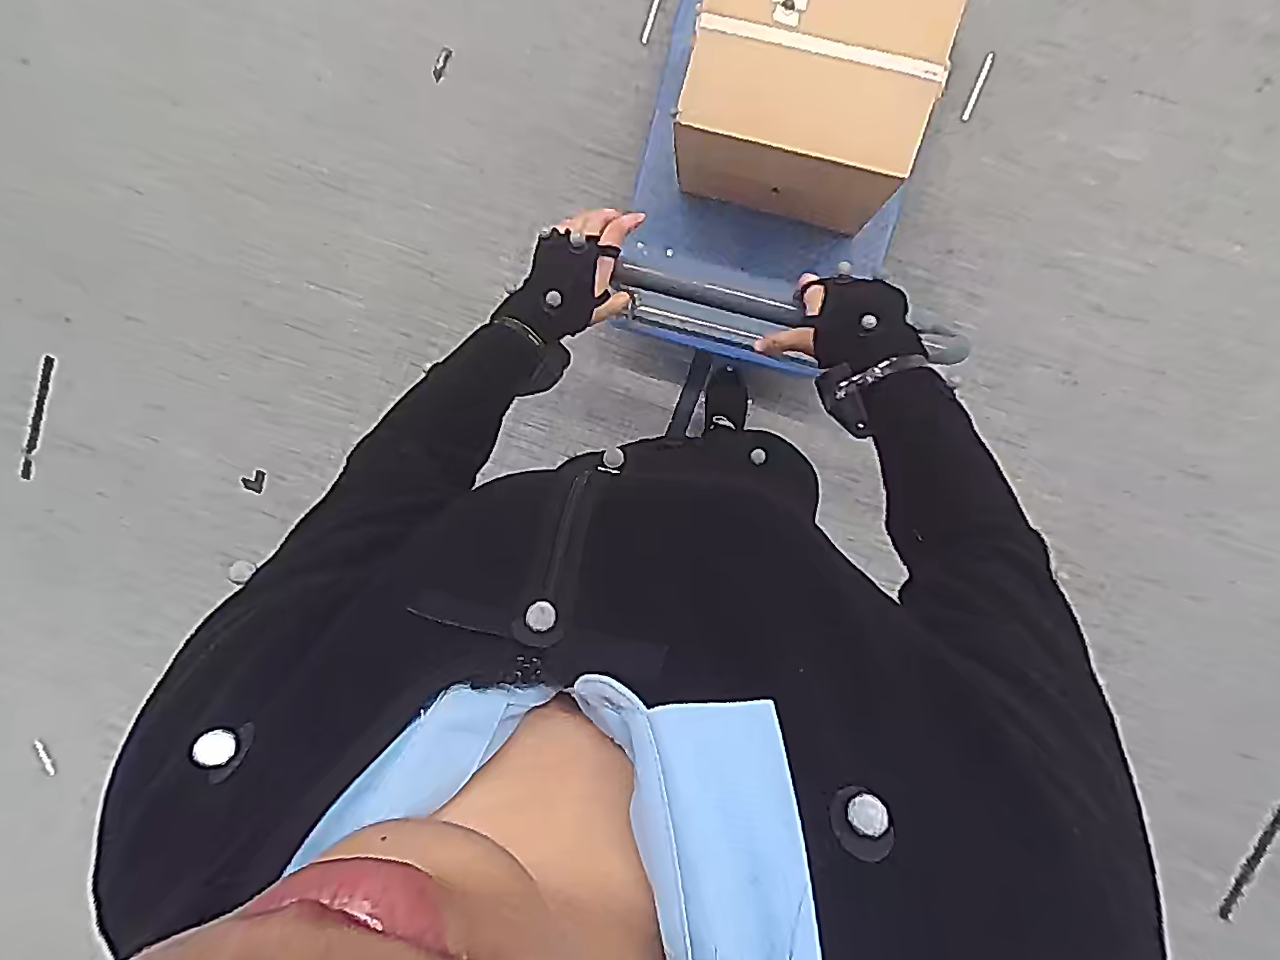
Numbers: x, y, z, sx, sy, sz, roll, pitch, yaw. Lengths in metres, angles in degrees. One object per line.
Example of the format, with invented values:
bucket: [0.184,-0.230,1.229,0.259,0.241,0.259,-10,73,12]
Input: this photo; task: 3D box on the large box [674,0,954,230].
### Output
large box: [0.304,-0.725,1.050,0.408,0.320,0.320,16,98,5]
